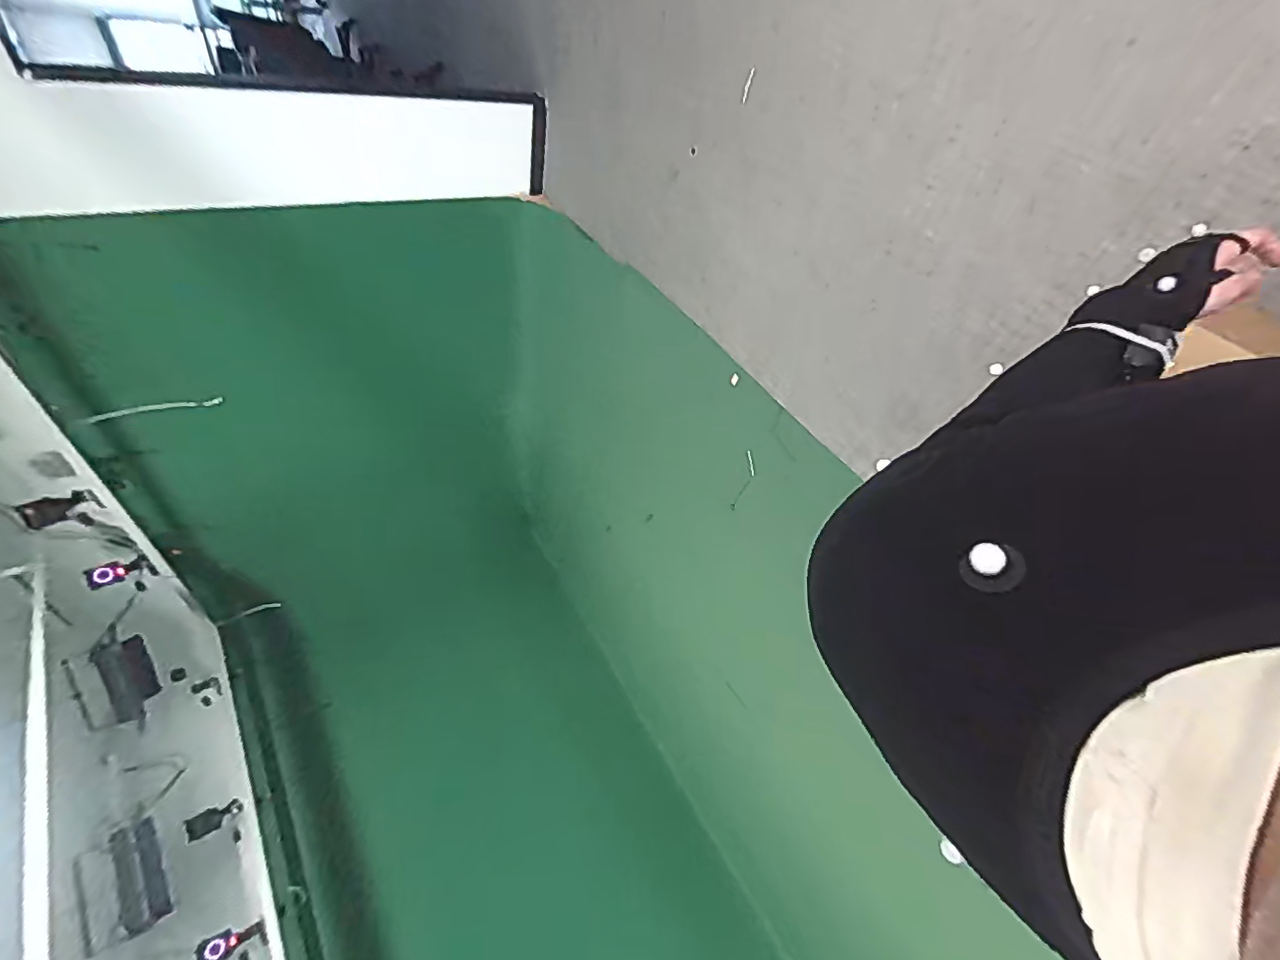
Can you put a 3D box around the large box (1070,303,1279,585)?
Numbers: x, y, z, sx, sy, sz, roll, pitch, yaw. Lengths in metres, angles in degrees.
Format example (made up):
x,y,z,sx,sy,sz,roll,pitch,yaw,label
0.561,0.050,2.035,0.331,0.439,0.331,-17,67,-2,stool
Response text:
x,y,z,sx,sy,sz,roll,pitch,yaw,label
1.177,-0.086,1.022,0.408,0.320,0.320,51,144,31,large box
